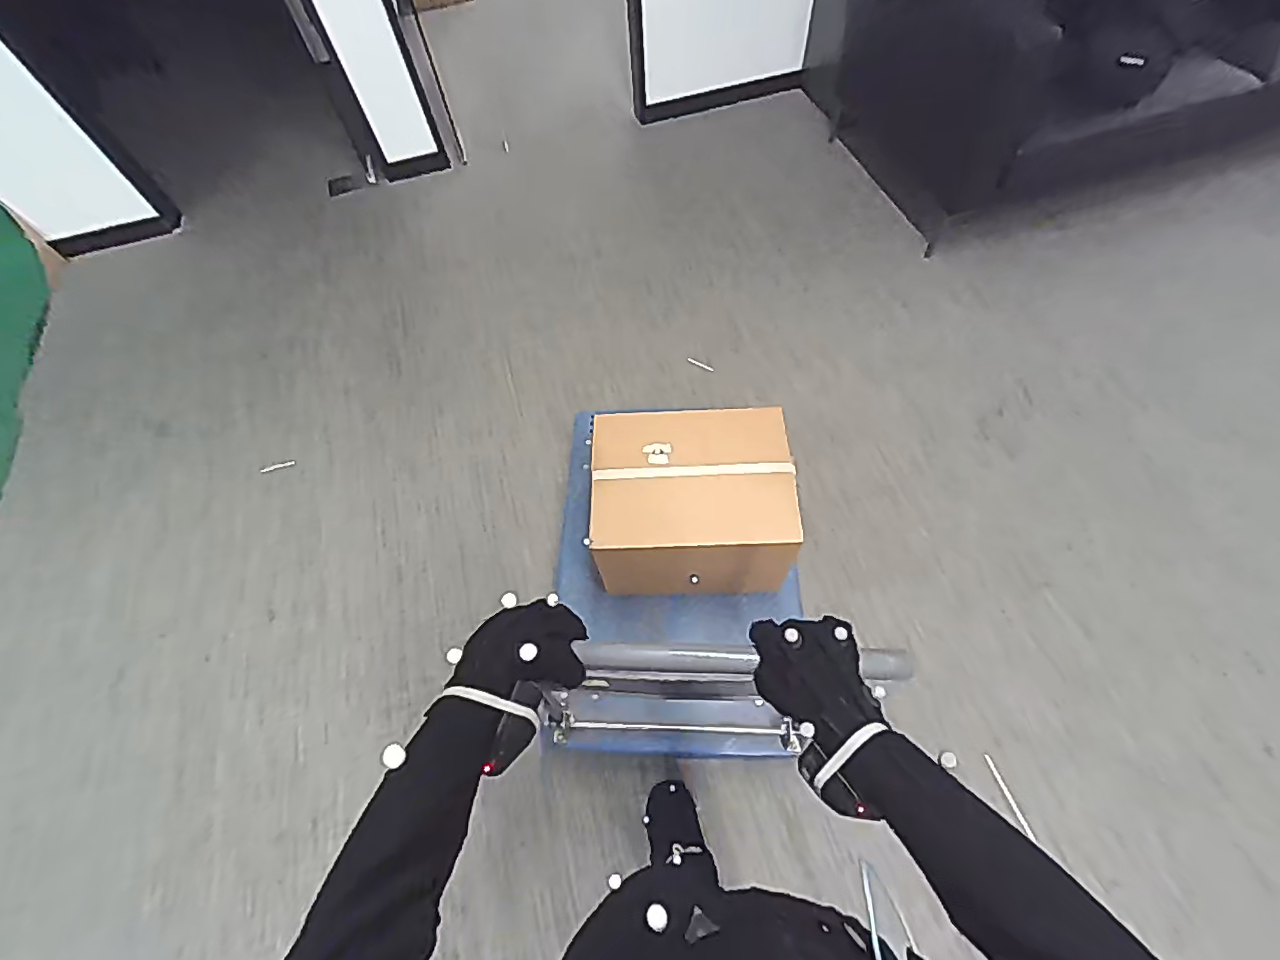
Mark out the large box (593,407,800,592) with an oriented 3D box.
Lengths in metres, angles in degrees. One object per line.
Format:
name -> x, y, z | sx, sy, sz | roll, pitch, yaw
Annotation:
large box -> 0.116, 0.058, 1.233 | 0.408, 0.320, 0.320 | -3, 61, 3
